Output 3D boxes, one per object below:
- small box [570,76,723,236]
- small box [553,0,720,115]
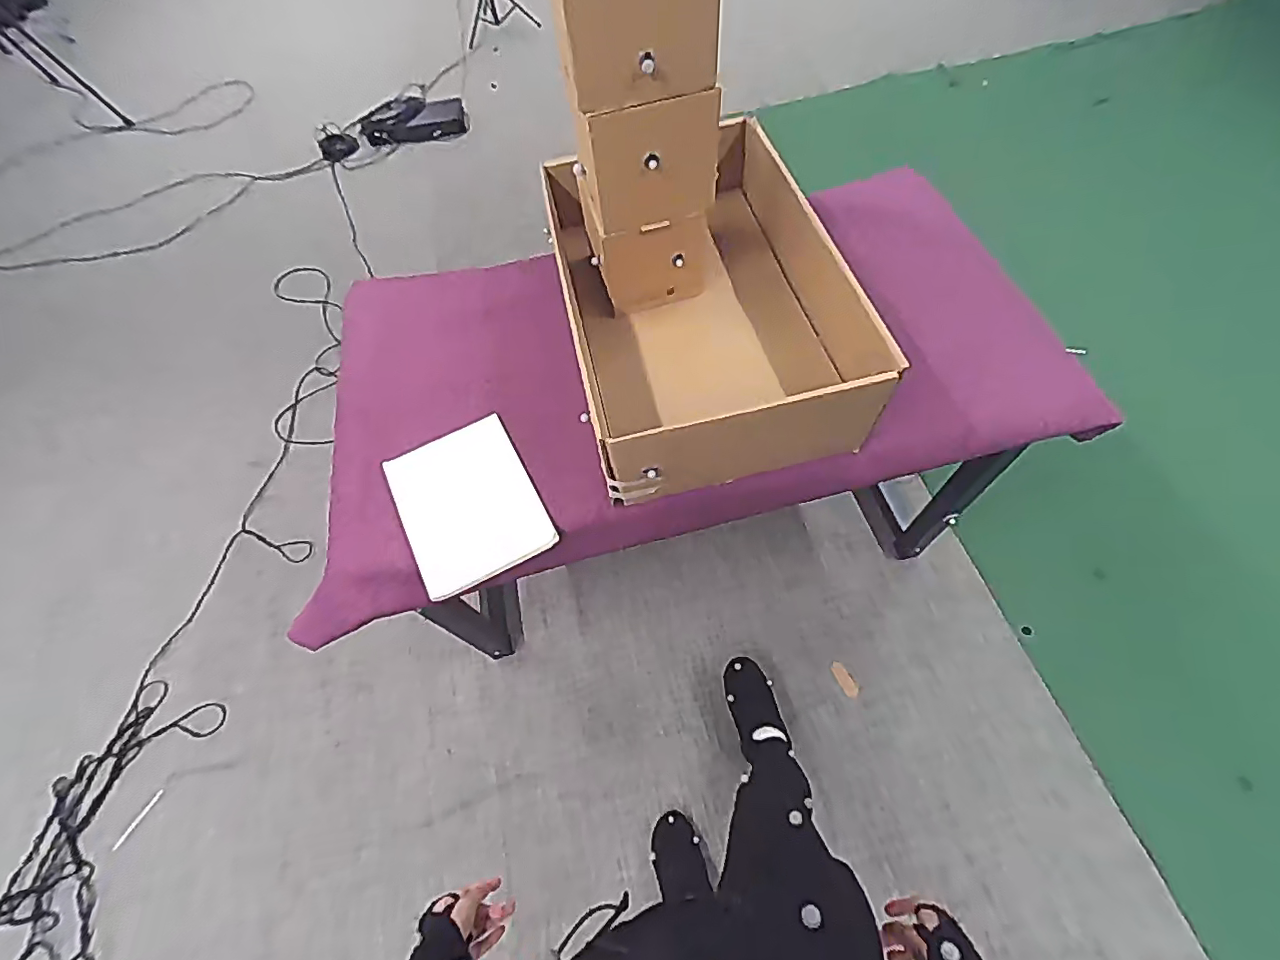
[{"bbox_3d":[0.005,-0.484,0.773,0.179,0.176,0.168,-16,61,-4],"label":"small box"},{"bbox_3d":[-0.010,-0.565,0.631,0.179,0.176,0.168,-13,61,-4],"label":"small box"}]
